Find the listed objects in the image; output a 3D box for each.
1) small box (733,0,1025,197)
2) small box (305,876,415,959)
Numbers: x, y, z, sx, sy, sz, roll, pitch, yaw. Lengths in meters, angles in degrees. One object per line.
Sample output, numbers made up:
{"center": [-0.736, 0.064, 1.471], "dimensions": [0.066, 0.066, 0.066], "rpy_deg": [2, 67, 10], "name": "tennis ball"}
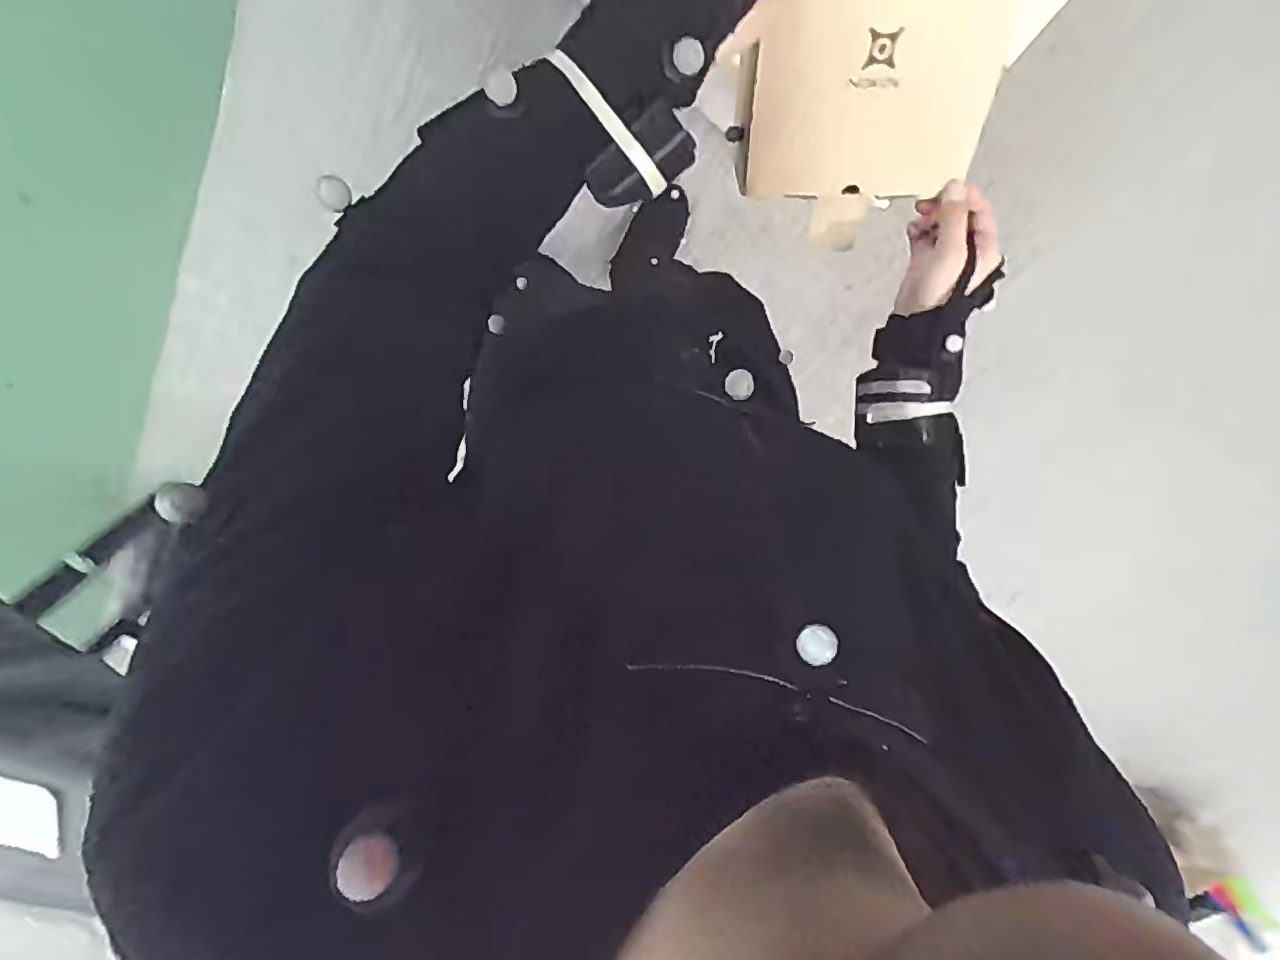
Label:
{"center": [0.164, -0.334, 0.418], "dimensions": [0.168, 0.176, 0.179], "rpy_deg": [1, 131, 4], "name": "small box"}
{"center": [-0.604, 0.983, 1.156], "dimensions": [0.168, 0.176, 0.179], "rpy_deg": [26, 120, -15], "name": "small box"}
